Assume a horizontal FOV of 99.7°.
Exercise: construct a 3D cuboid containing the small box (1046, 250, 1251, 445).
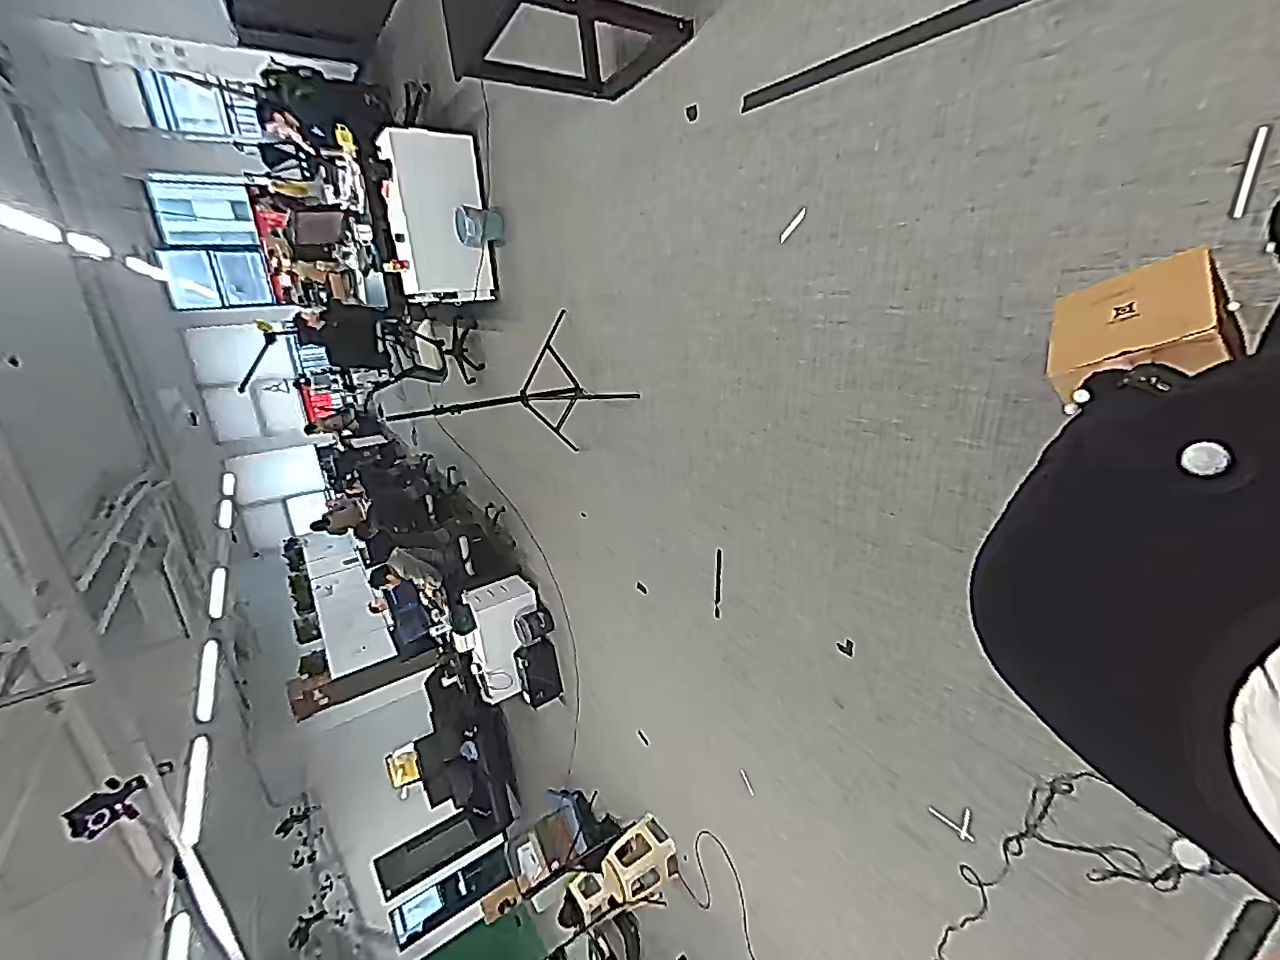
[{"bbox_3d":[0.695,-0.166,0.743,0.176,0.179,0.168,43,149,-21],"label":"small box"}]
